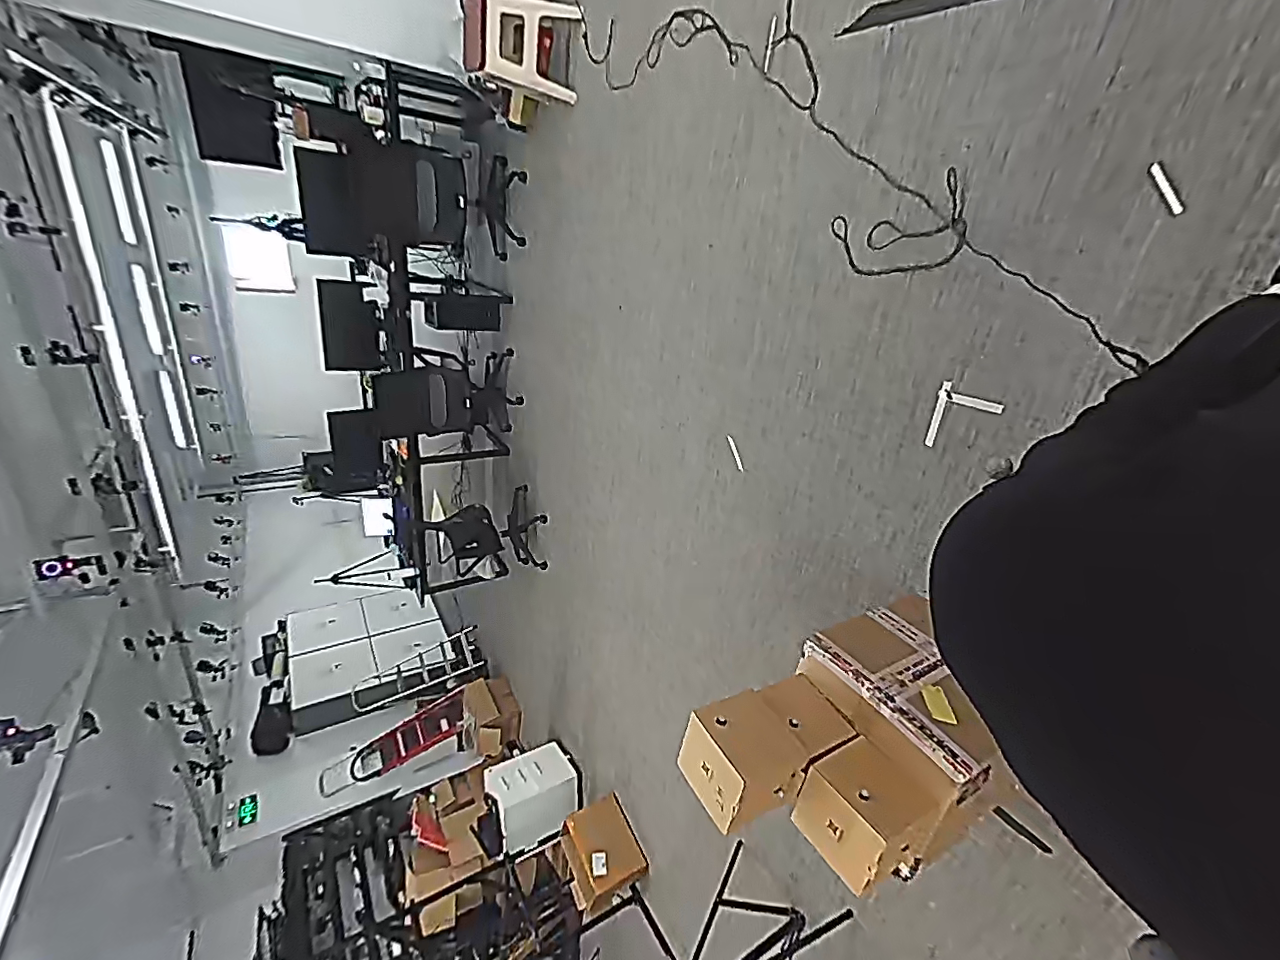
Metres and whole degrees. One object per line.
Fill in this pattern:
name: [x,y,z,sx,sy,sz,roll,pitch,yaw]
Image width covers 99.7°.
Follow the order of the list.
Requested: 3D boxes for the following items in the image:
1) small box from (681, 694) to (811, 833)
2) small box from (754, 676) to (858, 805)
small box: [0.214,0.569,1.114,0.179,0.176,0.168,43,131,48]
small box: [0.349,0.573,1.211,0.179,0.176,0.168,47,134,46]
